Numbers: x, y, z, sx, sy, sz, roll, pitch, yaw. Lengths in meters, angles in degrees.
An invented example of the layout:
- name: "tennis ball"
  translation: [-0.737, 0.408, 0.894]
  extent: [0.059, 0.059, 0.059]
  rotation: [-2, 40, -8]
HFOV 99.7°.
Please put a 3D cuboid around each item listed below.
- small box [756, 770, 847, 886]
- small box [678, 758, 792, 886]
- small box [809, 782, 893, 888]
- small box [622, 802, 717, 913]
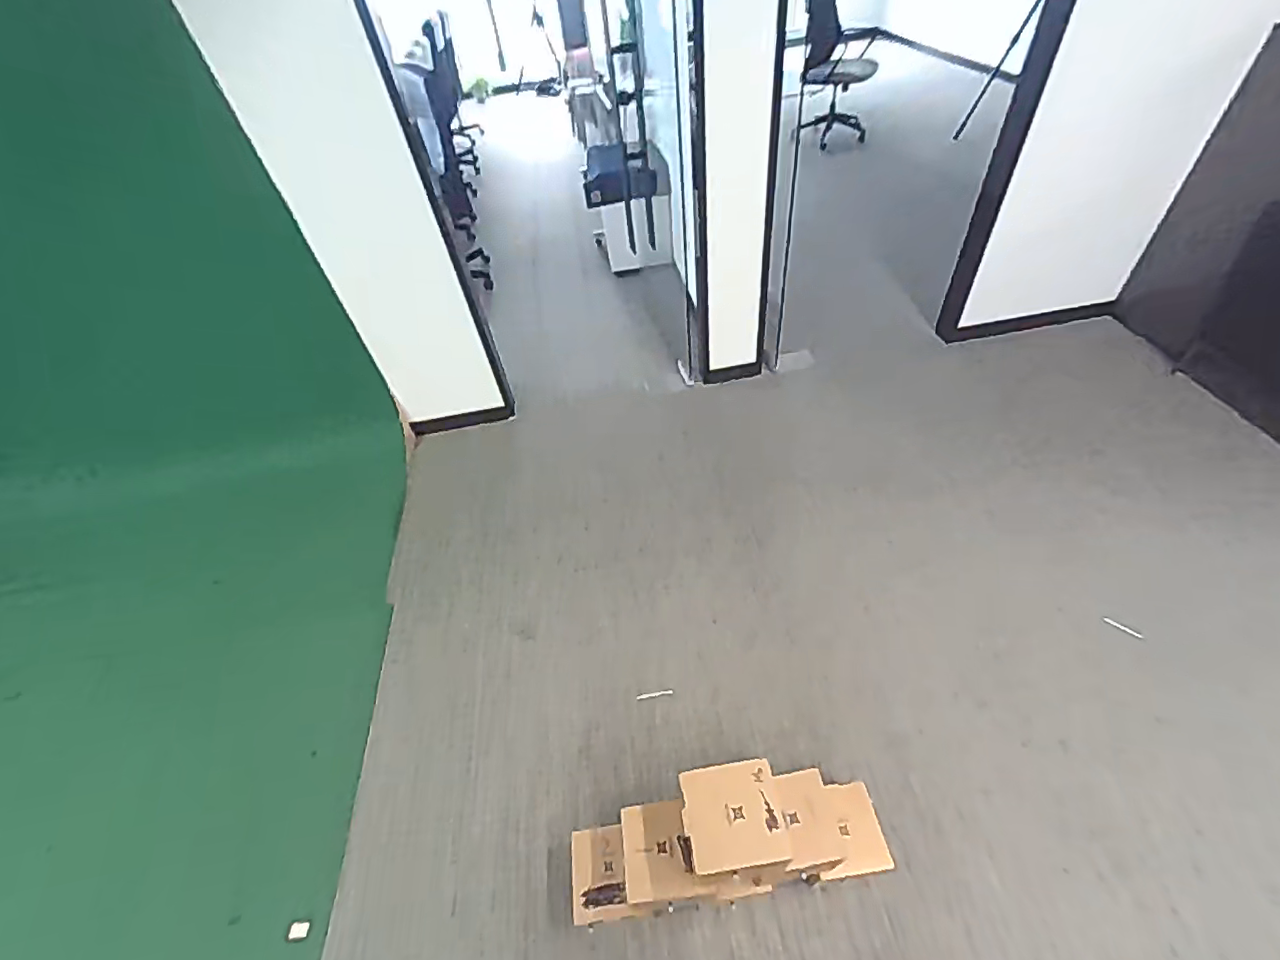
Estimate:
- name: "small box"
  translation: [0.316, 0.748, 1.159]
  extent: [0.179, 0.176, 0.168]
  rotation: [-10, 47, -3]
- name: "small box"
  translation: [0.177, 0.658, 1.036]
  extent: [0.179, 0.176, 0.168]
  rotation: [-9, 47, -1]
- name: "small box"
  translation: [0.466, 0.842, 1.276]
  extent: [0.168, 0.176, 0.179]
  rotation: [-10, 46, -1]
- name: "small box"
  translation: [0.062, 0.798, 1.145]
  extent: [0.179, 0.176, 0.168]
  rotation: [-9, 46, 1]
